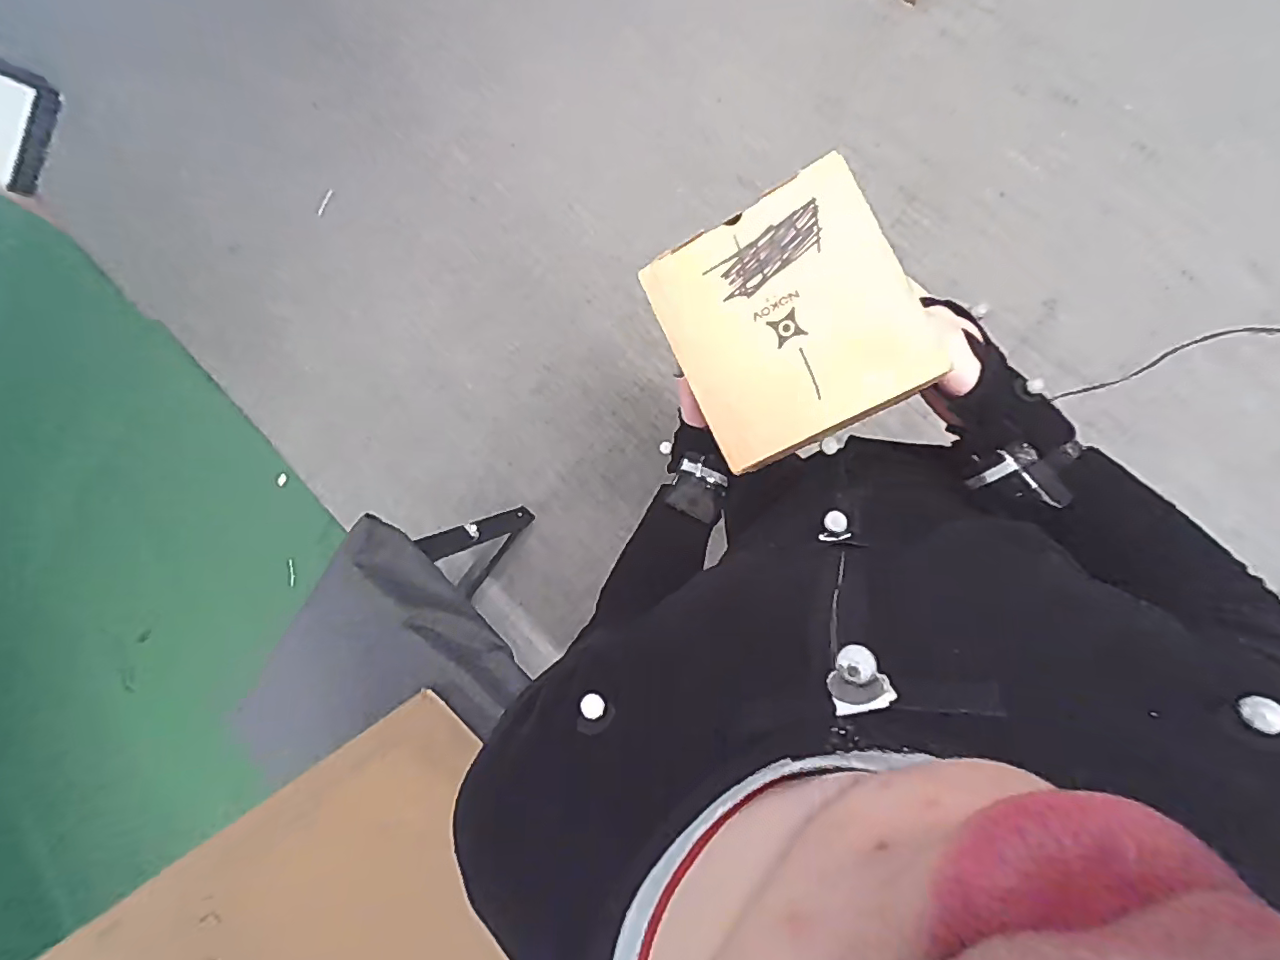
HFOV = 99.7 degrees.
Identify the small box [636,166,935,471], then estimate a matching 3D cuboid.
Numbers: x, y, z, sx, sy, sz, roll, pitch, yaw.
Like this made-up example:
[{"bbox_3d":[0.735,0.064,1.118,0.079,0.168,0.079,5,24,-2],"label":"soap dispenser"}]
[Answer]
[{"bbox_3d":[0.120,-0.118,0.475,0.168,0.176,0.179,-25,86,16],"label":"small box"}]
